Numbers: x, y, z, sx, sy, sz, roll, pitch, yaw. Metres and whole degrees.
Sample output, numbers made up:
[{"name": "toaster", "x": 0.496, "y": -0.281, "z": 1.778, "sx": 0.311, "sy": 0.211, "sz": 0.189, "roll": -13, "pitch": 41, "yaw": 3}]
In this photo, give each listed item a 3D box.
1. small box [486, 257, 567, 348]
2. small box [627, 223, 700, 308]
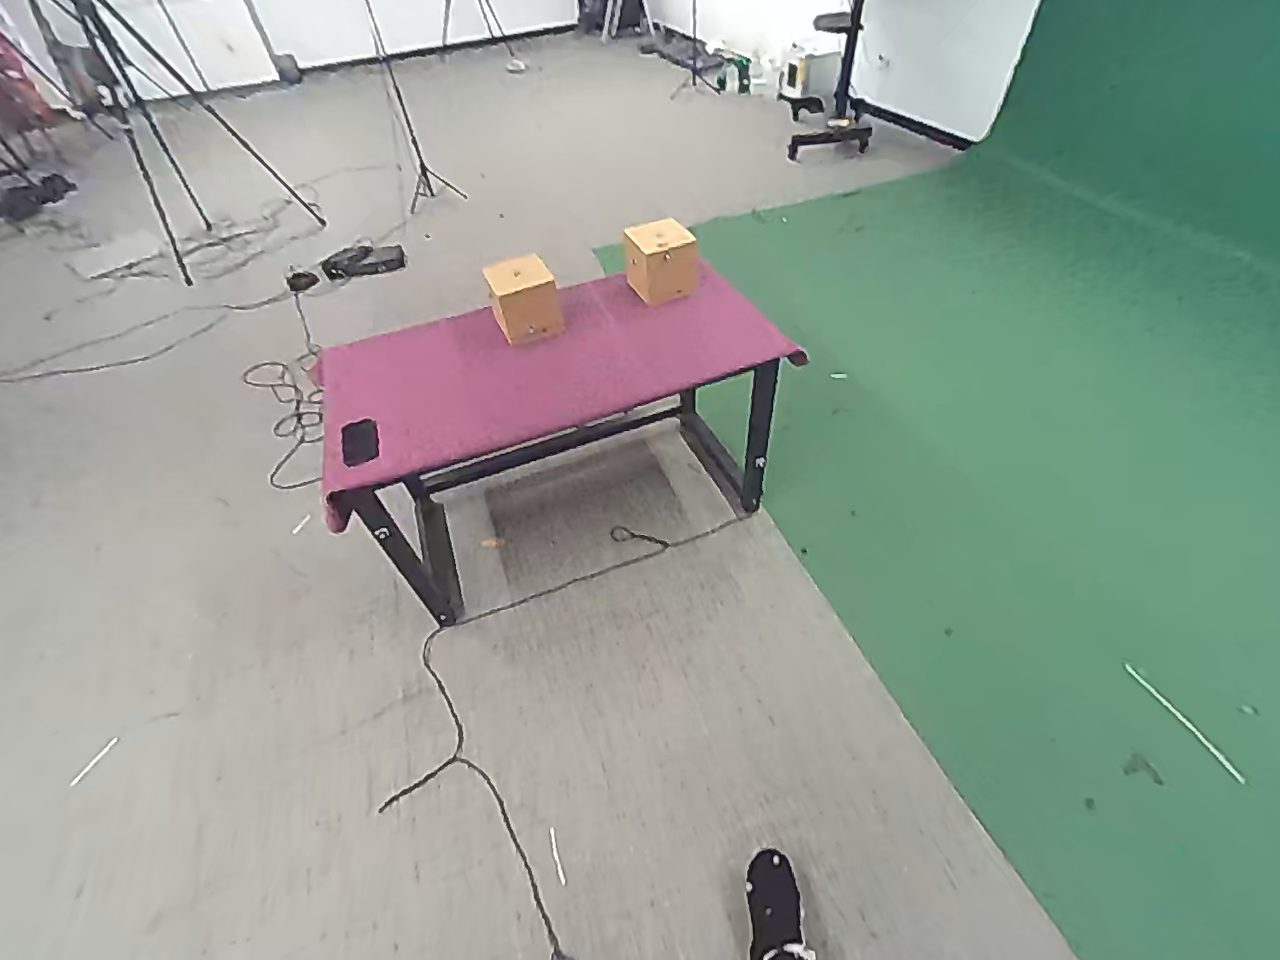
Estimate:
[{"name": "small box", "x": -0.324, "y": -0.508, "z": 1.555, "sx": 0.168, "sy": 0.176, "sz": 0.179, "roll": -22, "pitch": 50, "yaw": -13}, {"name": "small box", "x": 0.070, "y": -0.651, "z": 1.645, "sx": 0.168, "sy": 0.176, "sz": 0.179, "roll": -20, "pitch": 49, "yaw": -12}]
